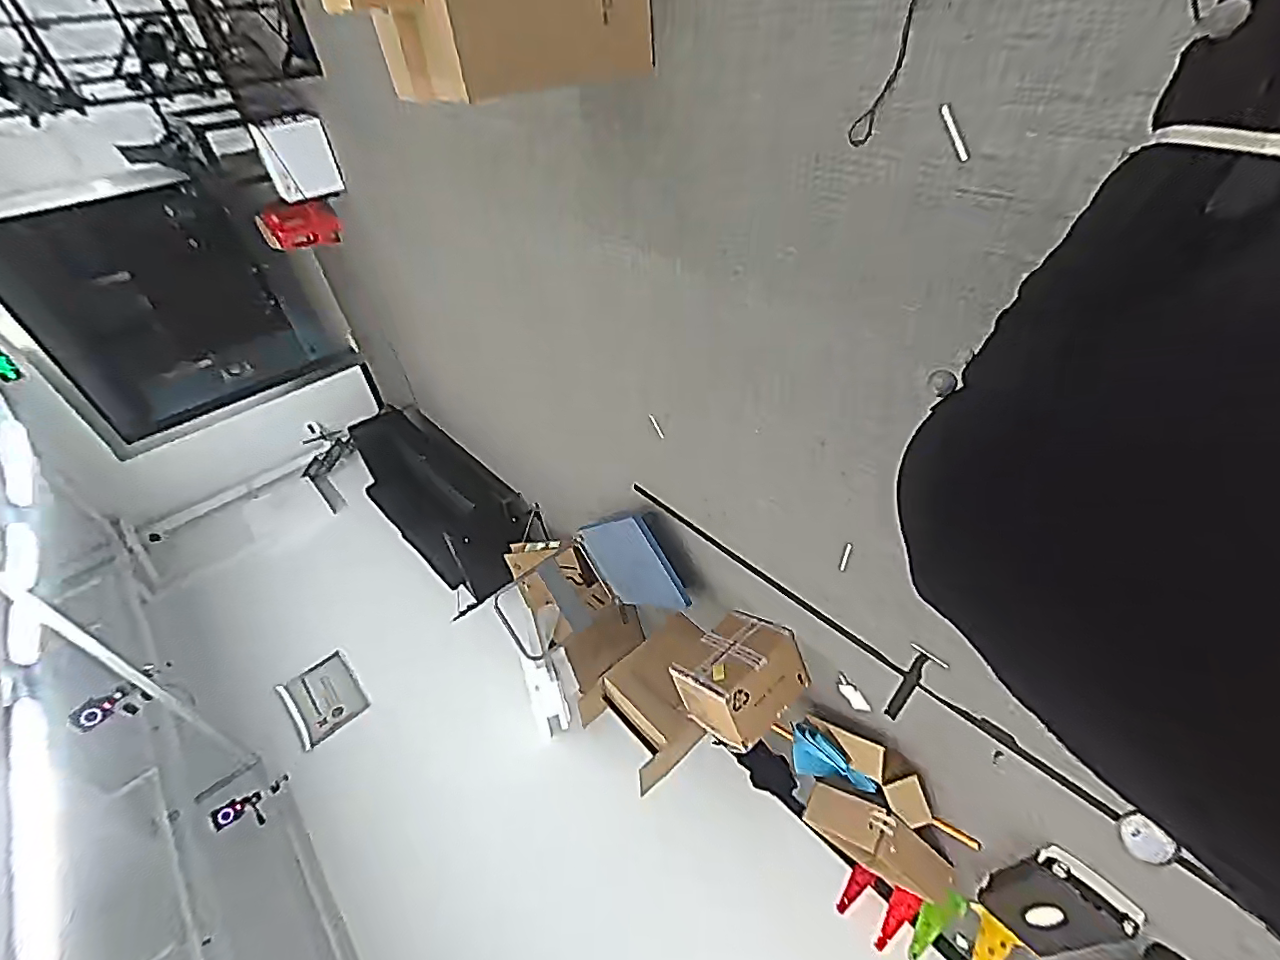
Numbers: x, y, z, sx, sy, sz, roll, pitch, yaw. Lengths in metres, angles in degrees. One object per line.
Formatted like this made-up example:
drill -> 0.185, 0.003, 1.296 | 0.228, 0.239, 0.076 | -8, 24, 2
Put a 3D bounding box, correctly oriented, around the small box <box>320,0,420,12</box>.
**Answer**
small box -> -0.609, -1.135, 1.166 | 0.168, 0.176, 0.179 | 33, 145, 36
